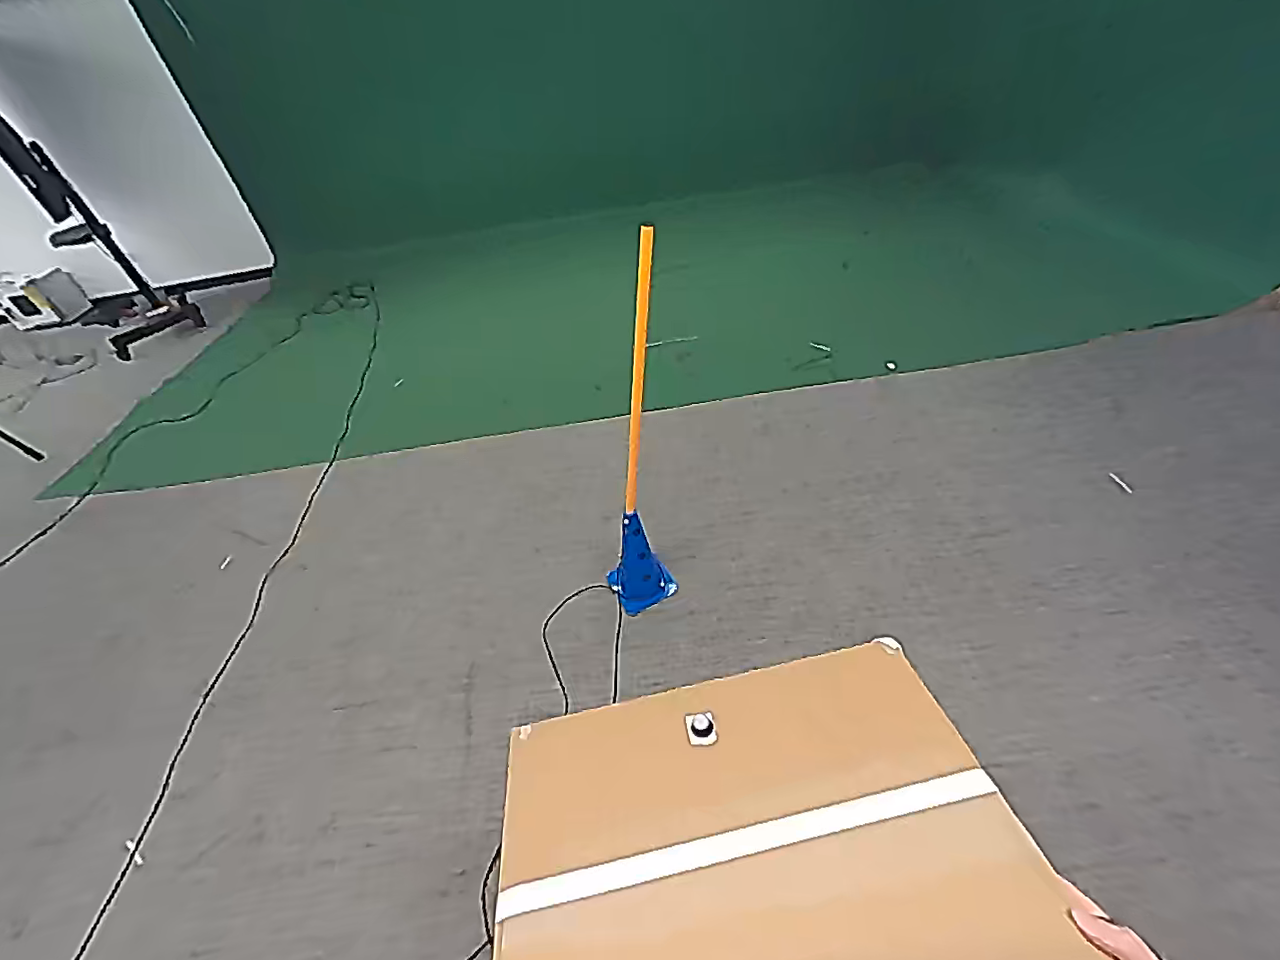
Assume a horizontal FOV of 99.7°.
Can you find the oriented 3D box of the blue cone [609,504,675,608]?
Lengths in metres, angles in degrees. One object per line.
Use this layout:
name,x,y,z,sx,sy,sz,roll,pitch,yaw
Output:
blue cone,-0.008,0.217,1.751,0.193,0.380,0.192,-25,45,-20
